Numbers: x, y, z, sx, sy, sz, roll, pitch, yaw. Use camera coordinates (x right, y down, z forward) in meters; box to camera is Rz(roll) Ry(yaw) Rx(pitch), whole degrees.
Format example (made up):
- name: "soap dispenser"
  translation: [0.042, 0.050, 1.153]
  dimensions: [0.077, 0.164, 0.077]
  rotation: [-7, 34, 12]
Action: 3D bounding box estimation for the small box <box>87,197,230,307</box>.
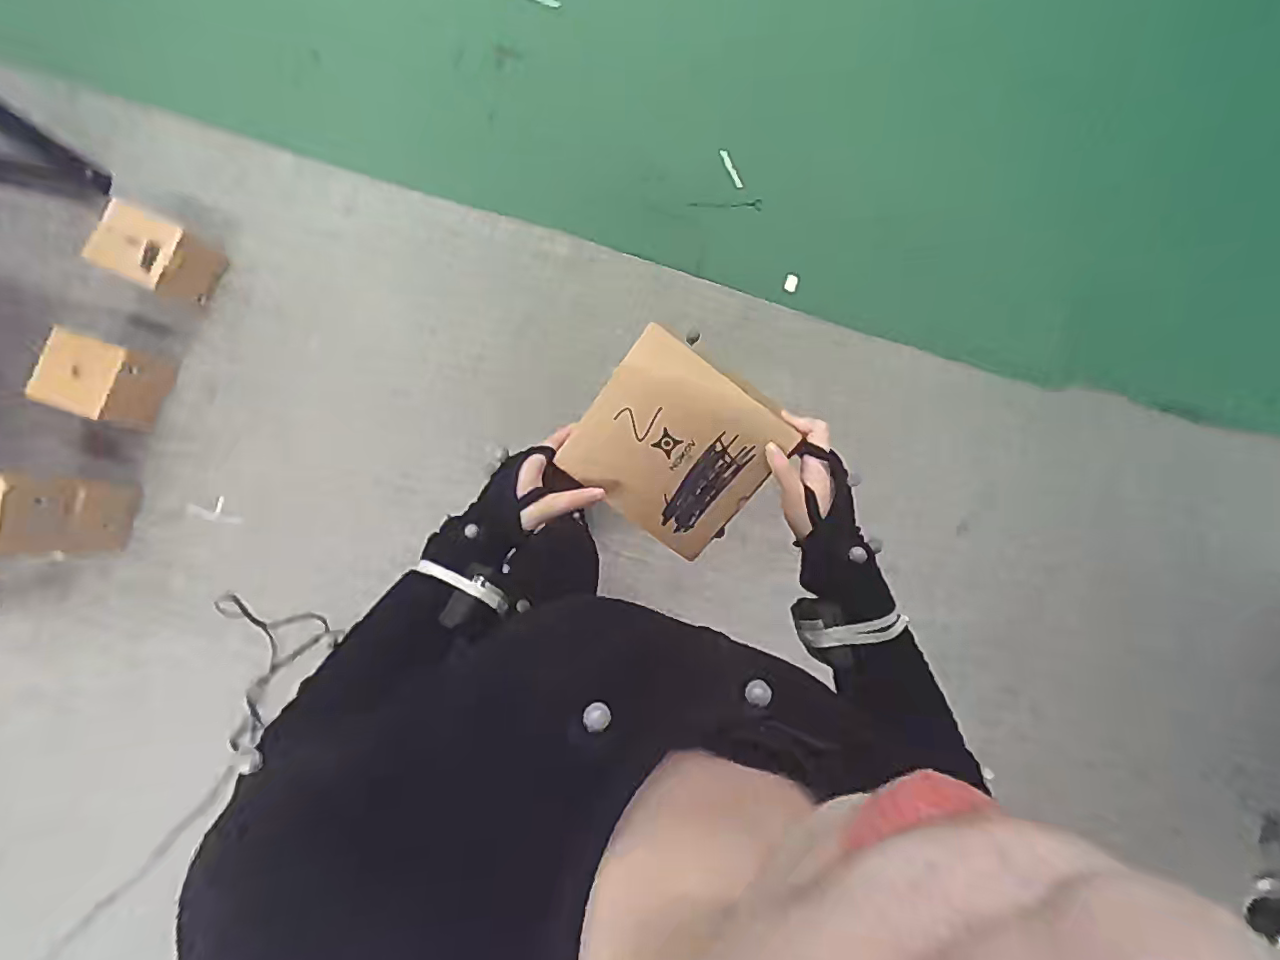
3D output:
- name: "small box"
  translation: [-1.187, -0.556, 1.351]
  dimensions: [0.179, 0.176, 0.168]
  rotation: [25, 85, -3]
